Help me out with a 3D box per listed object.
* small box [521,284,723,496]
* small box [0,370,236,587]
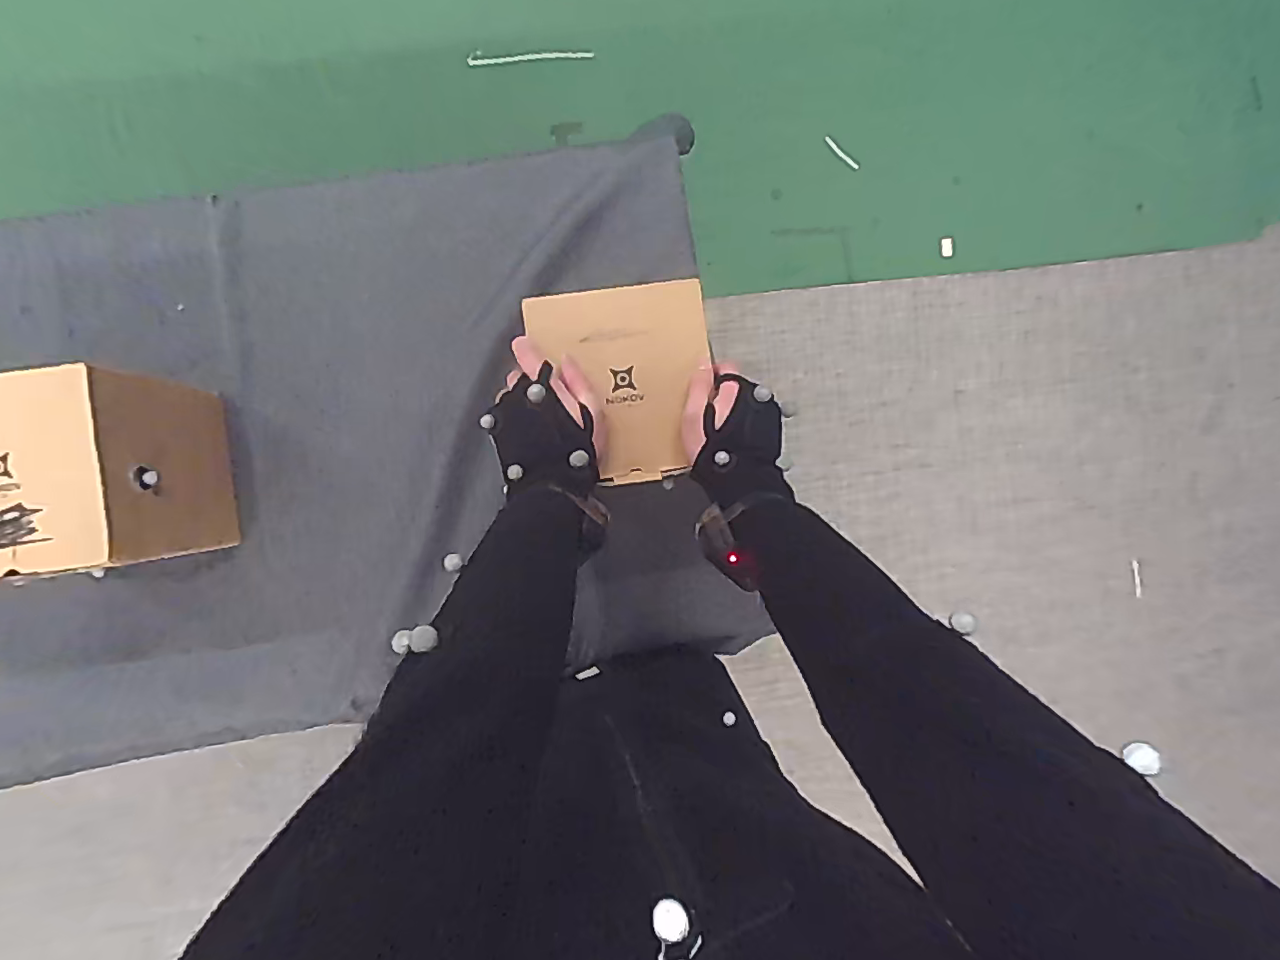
[{"bbox_3d":[-0.020,-0.082,0.568,0.168,0.176,0.179,-9,89,-5],"label":"small box"},{"bbox_3d":[-0.540,0.002,0.532,0.168,0.176,0.179,-8,90,-4],"label":"small box"}]
